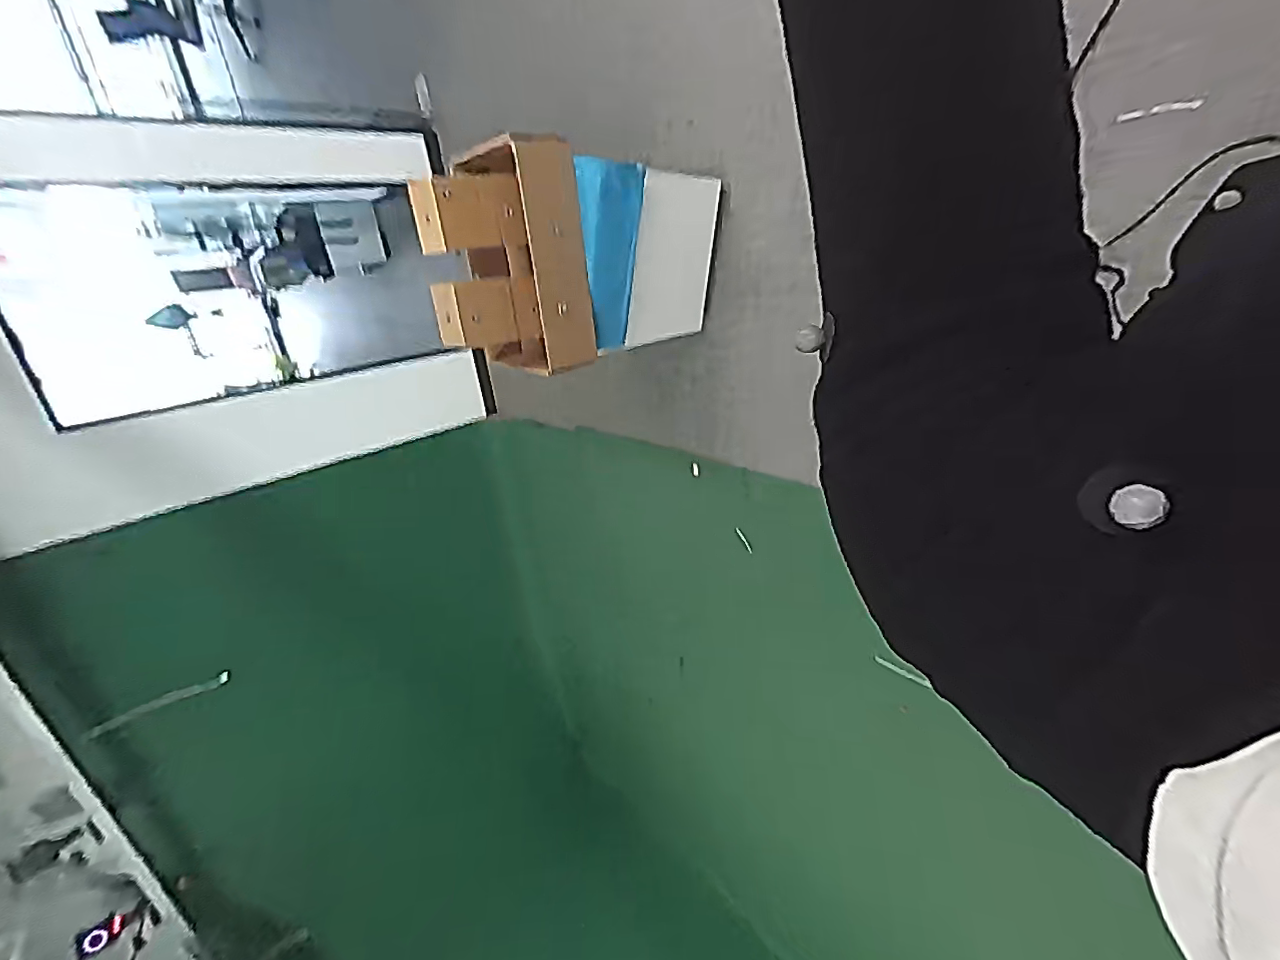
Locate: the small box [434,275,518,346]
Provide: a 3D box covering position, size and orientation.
[{"bbox_3d":[-0.471,-0.496,1.573,0.168,0.176,0.179,20,123,46],"label":"small box"}]

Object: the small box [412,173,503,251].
[{"bbox_3d":[-0.492,-0.730,1.477,0.168,0.176,0.179,22,126,45],"label":"small box"}]
